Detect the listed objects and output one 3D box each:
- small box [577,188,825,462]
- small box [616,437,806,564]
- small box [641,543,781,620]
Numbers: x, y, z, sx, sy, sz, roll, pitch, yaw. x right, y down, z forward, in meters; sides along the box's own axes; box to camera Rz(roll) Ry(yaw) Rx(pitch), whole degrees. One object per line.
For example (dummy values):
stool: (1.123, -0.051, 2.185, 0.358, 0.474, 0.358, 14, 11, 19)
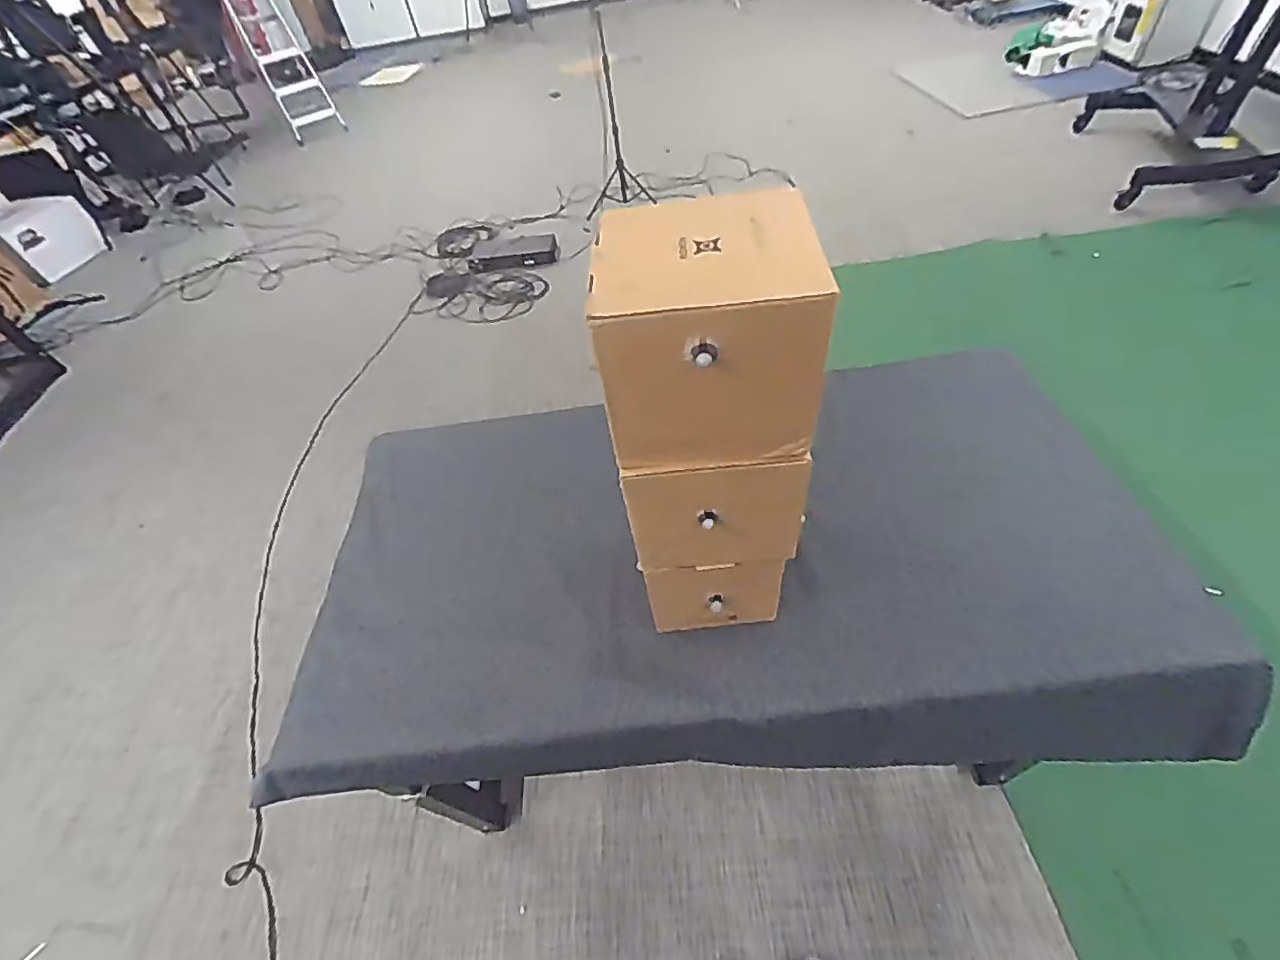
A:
small box: (0.052, -0.131, 0.484, 0.179, 0.176, 0.168, -4, 51, 6)
small box: (0.074, -0.022, 0.602, 0.179, 0.176, 0.168, -7, 50, 6)
small box: (0.090, 0.076, 0.734, 0.168, 0.176, 0.179, -8, 50, 4)
